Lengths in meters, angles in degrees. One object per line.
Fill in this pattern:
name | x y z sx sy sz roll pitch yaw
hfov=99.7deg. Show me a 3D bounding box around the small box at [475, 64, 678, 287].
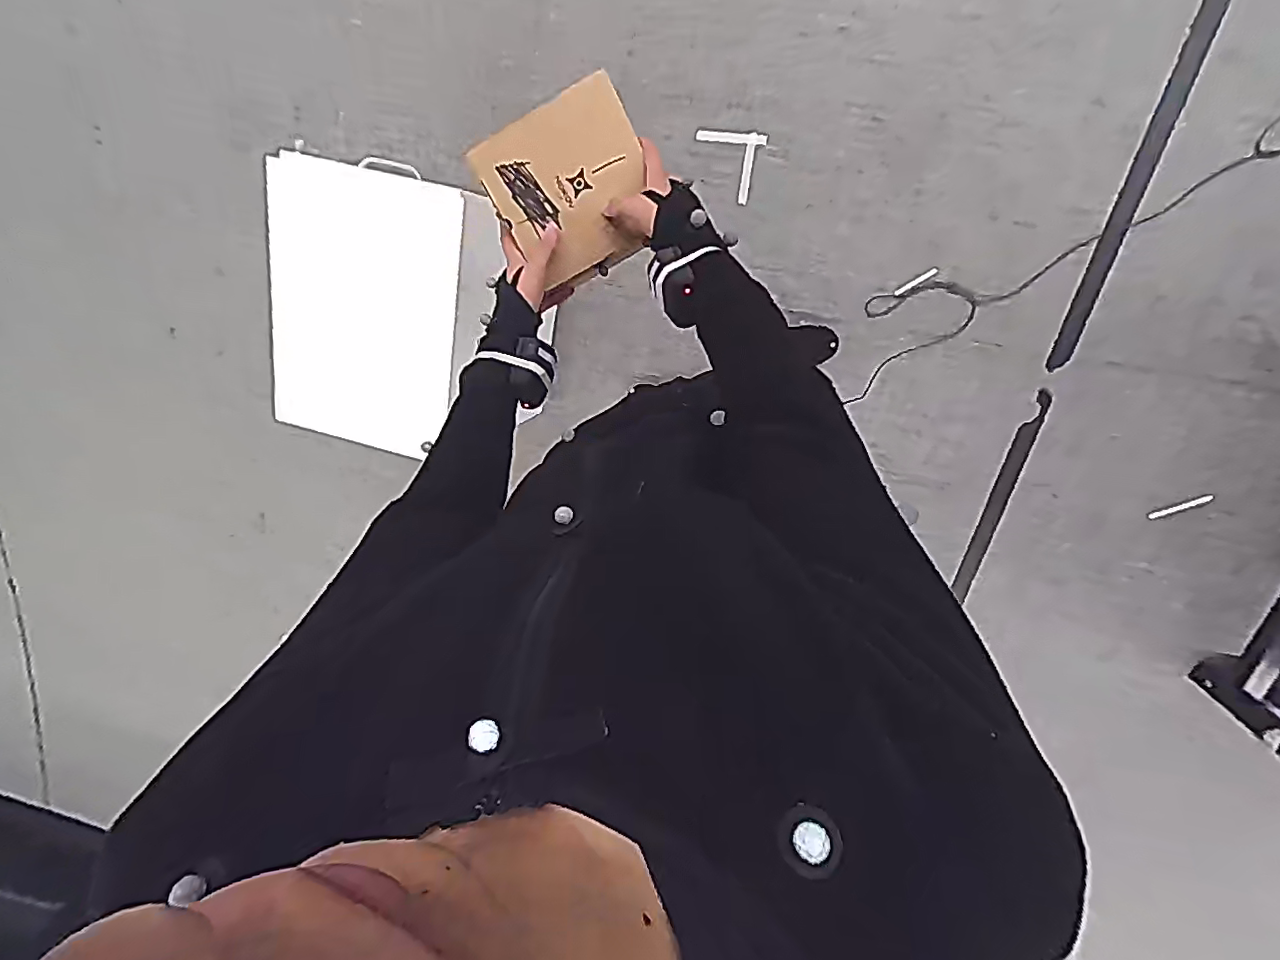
small box | -0.070 -0.354 0.673 0.179 0.176 0.168 -28 107 6
